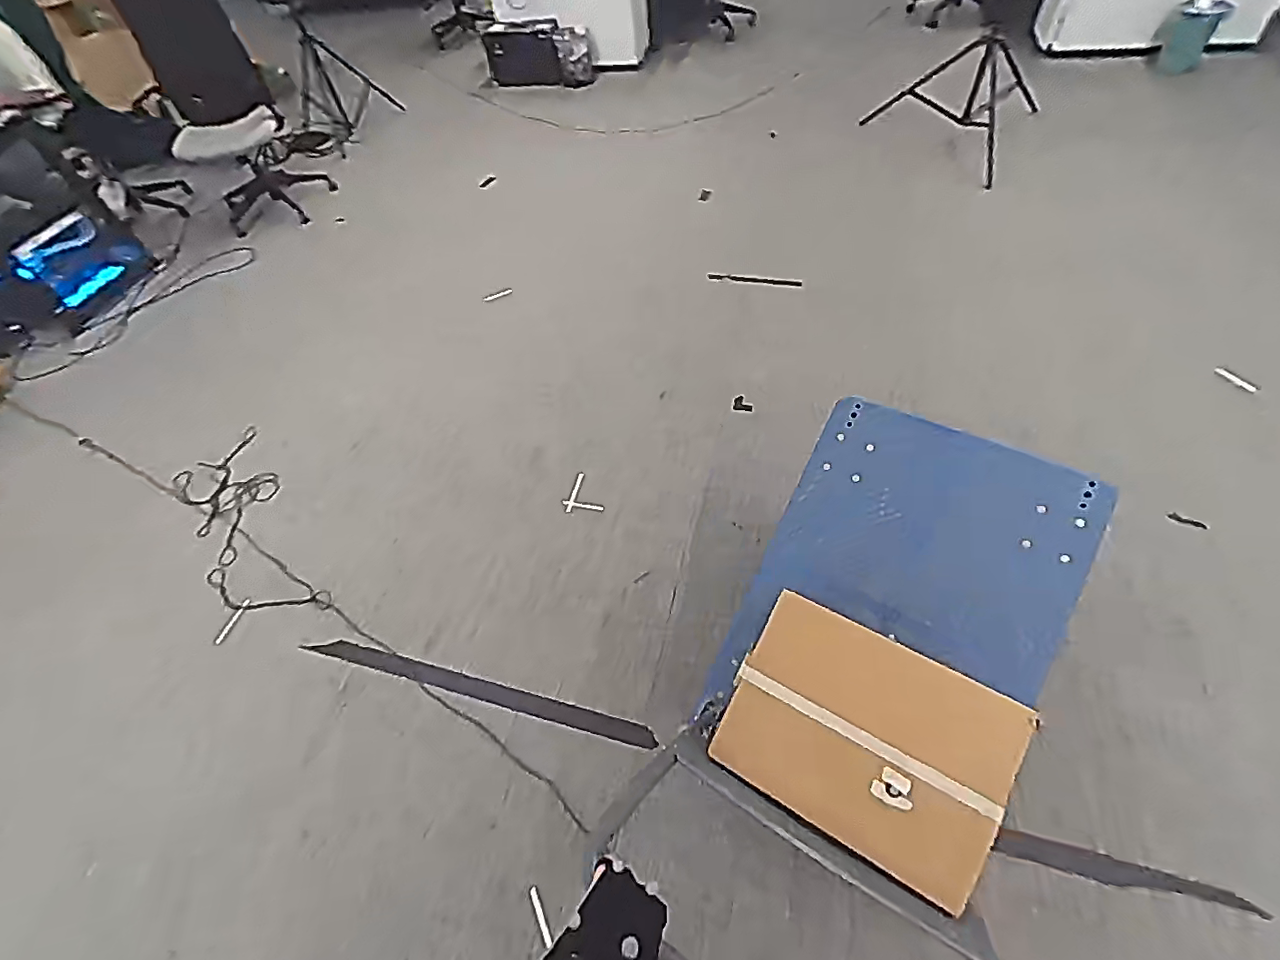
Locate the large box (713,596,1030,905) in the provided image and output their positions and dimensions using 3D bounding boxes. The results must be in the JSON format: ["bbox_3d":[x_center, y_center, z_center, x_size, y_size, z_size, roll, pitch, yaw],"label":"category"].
[{"bbox_3d":[0.397,0.447,1.005,0.408,0.320,0.320,24,84,22],"label":"large box"}]
